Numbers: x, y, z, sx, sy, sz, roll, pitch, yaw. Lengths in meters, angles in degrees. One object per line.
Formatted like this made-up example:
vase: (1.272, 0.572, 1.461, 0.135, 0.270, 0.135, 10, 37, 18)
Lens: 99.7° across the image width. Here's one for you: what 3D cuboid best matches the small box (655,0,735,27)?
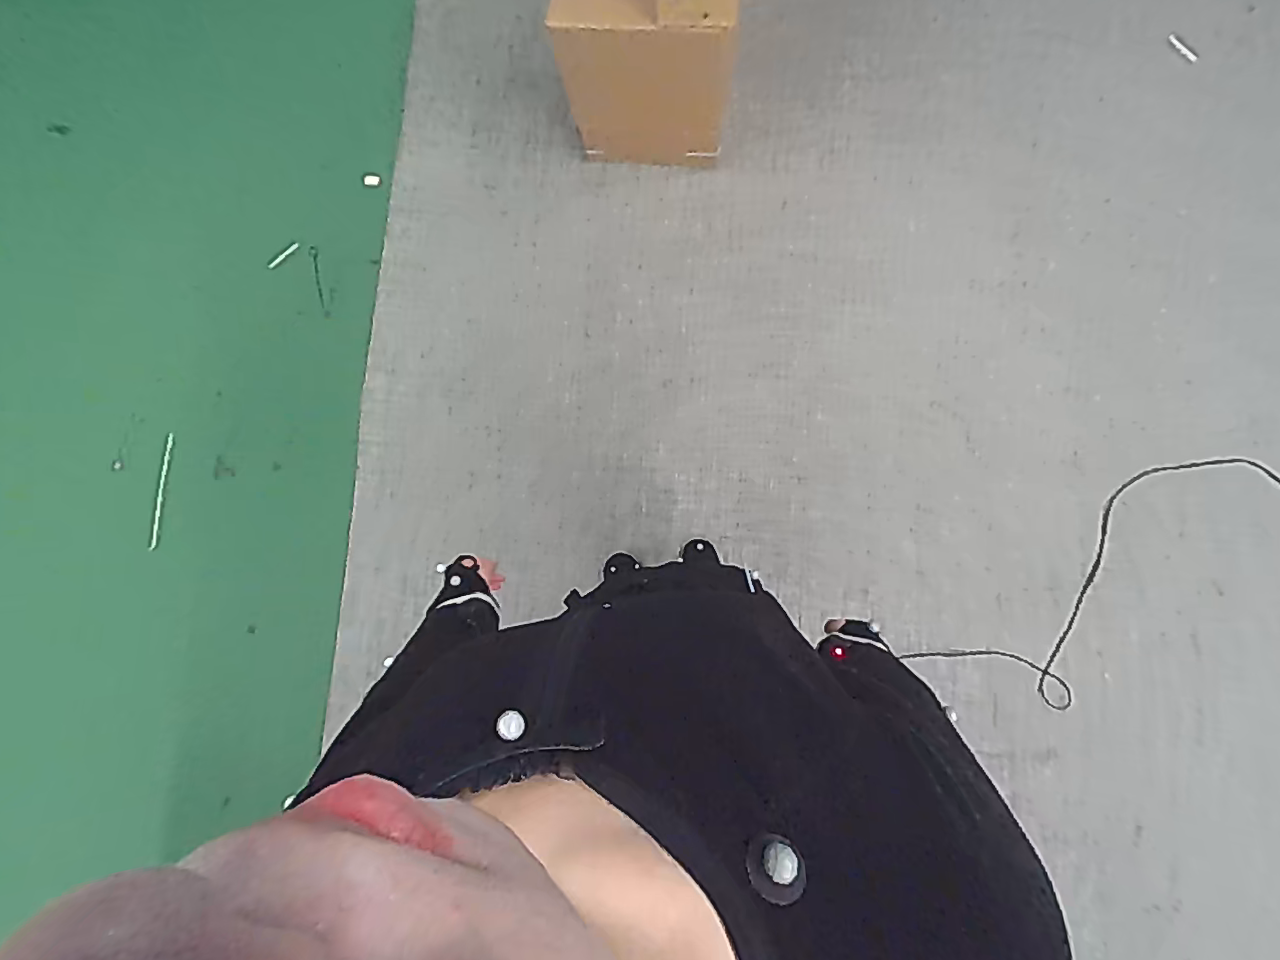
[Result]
small box: (0.117, -1.068, 1.096, 0.168, 0.176, 0.179, 6, 84, 7)
